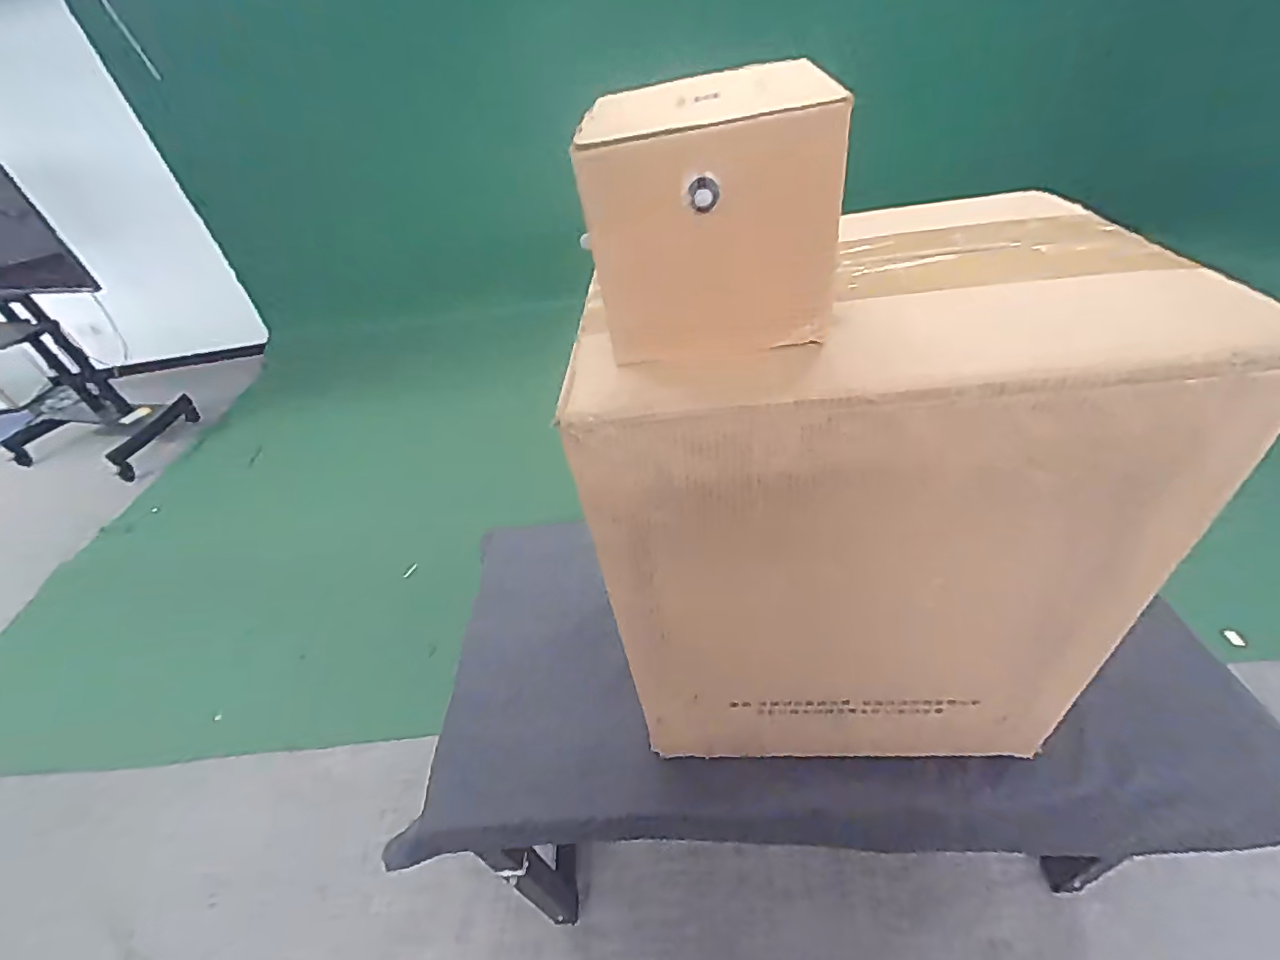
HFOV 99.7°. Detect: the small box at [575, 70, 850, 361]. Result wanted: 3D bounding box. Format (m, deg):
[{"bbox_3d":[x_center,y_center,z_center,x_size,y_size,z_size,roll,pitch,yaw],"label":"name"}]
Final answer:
[{"bbox_3d":[0.057,-0.212,0.447,0.179,0.176,0.168,-4,45,7],"label":"small box"}]
